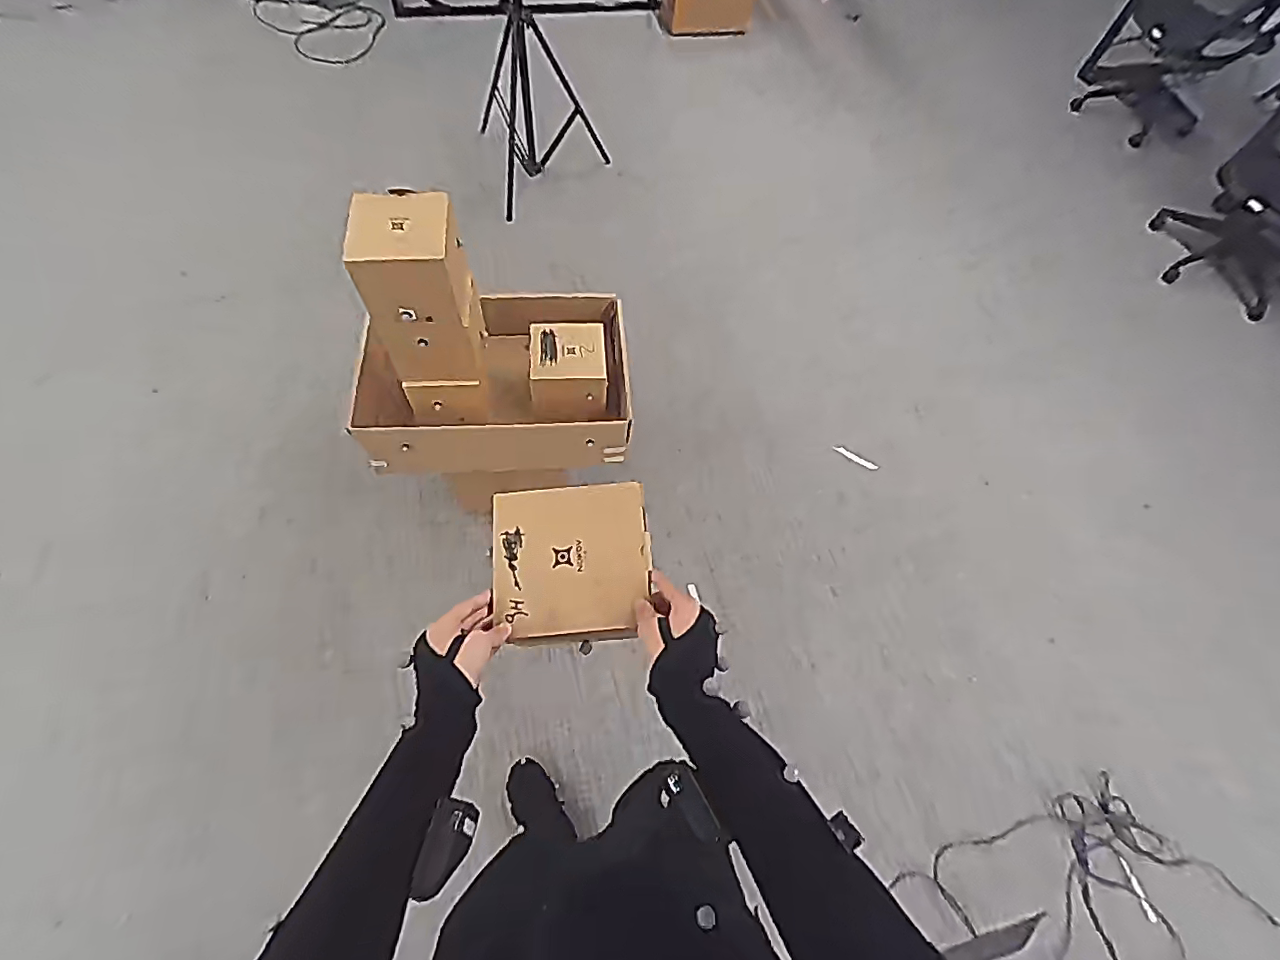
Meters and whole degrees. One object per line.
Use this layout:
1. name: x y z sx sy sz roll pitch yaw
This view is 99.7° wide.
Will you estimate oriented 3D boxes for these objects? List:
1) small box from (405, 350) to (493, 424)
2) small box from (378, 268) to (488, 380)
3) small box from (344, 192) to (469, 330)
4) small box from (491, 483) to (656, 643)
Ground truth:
1. small box: -0.445 -0.243 1.284 0.168 0.176 0.179 -3 63 -8
2. small box: -0.427 -0.326 1.142 0.179 0.176 0.168 -2 63 -7
3. small box: -0.418 -0.400 0.996 0.168 0.176 0.179 -5 62 -7
4. small box: -0.076 0.109 0.671 0.179 0.176 0.168 -3 70 -2
